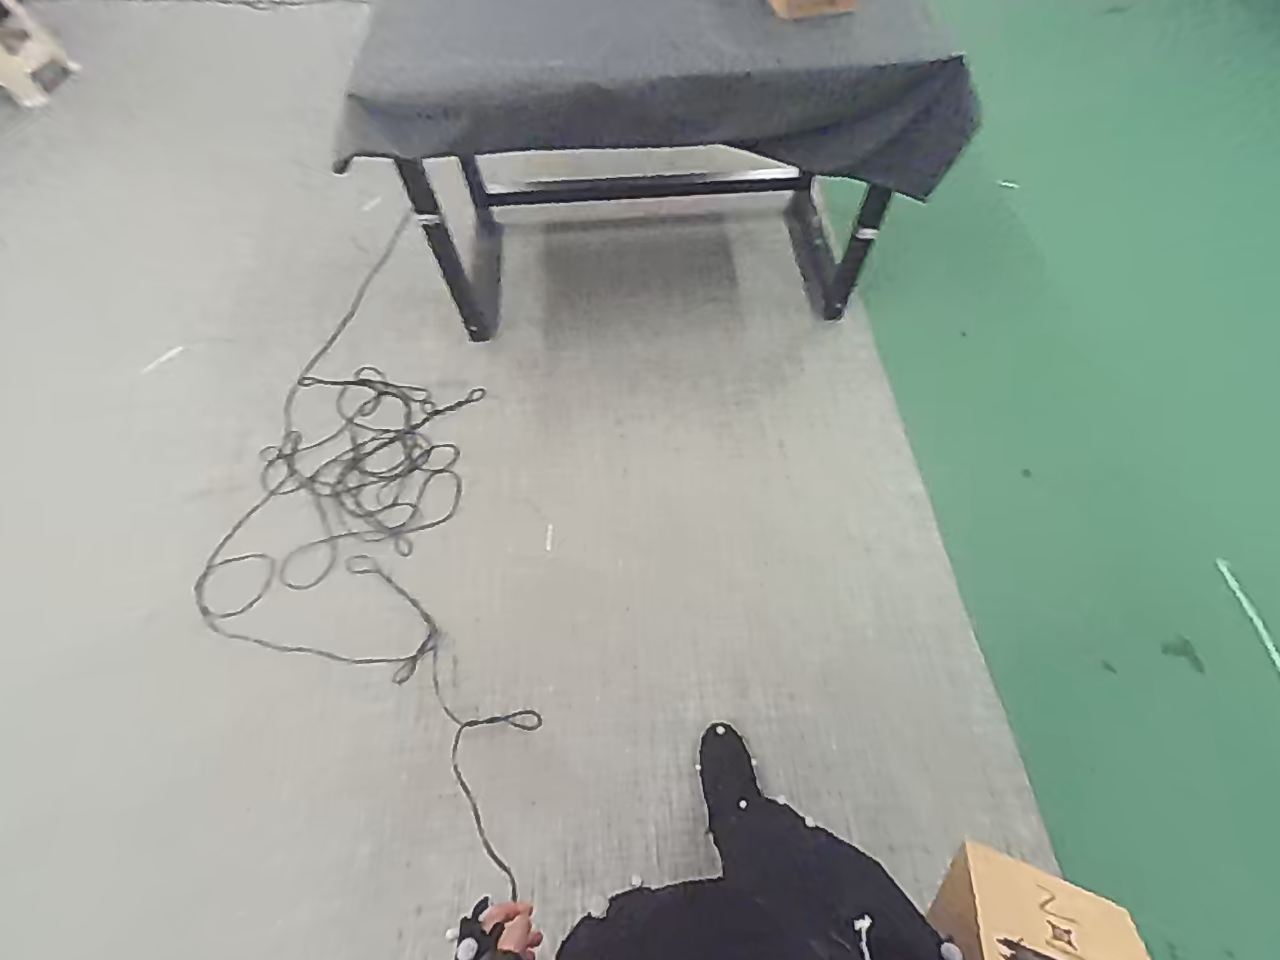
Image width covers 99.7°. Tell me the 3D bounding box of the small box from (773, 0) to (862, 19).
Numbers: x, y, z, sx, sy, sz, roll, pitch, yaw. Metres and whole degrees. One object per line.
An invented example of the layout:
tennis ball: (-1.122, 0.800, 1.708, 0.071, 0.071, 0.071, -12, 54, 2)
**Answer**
small box: (0.373, -1.084, 1.113, 0.168, 0.176, 0.179, -9, 61, -5)
